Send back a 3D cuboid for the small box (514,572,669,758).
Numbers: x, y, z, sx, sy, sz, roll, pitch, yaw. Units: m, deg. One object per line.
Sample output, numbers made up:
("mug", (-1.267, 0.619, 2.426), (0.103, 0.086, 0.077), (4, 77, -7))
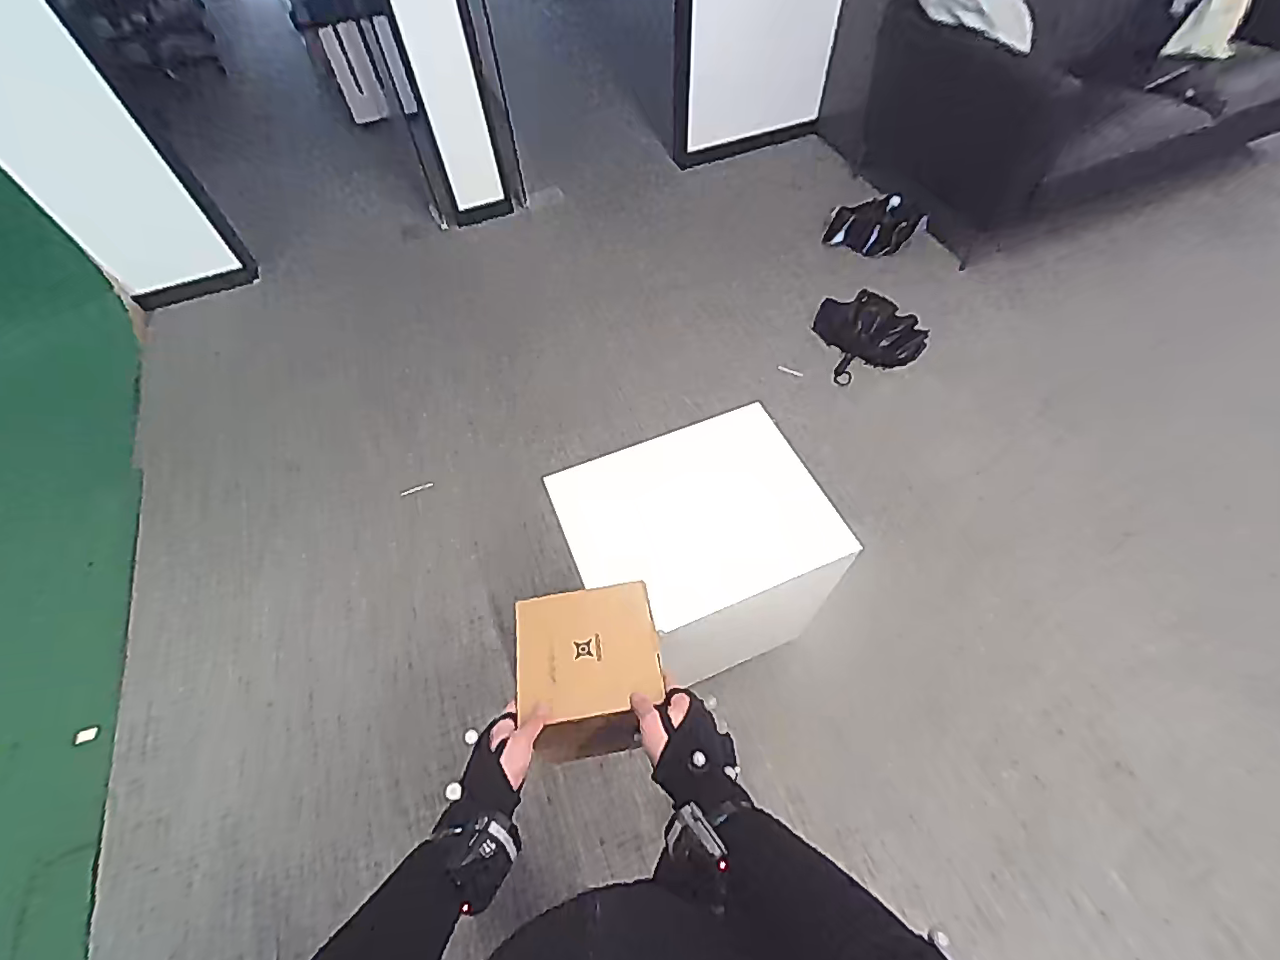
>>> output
("small box", (-0.061, 0.246, 0.714), (0.179, 0.176, 0.168), (-9, 49, -4))
